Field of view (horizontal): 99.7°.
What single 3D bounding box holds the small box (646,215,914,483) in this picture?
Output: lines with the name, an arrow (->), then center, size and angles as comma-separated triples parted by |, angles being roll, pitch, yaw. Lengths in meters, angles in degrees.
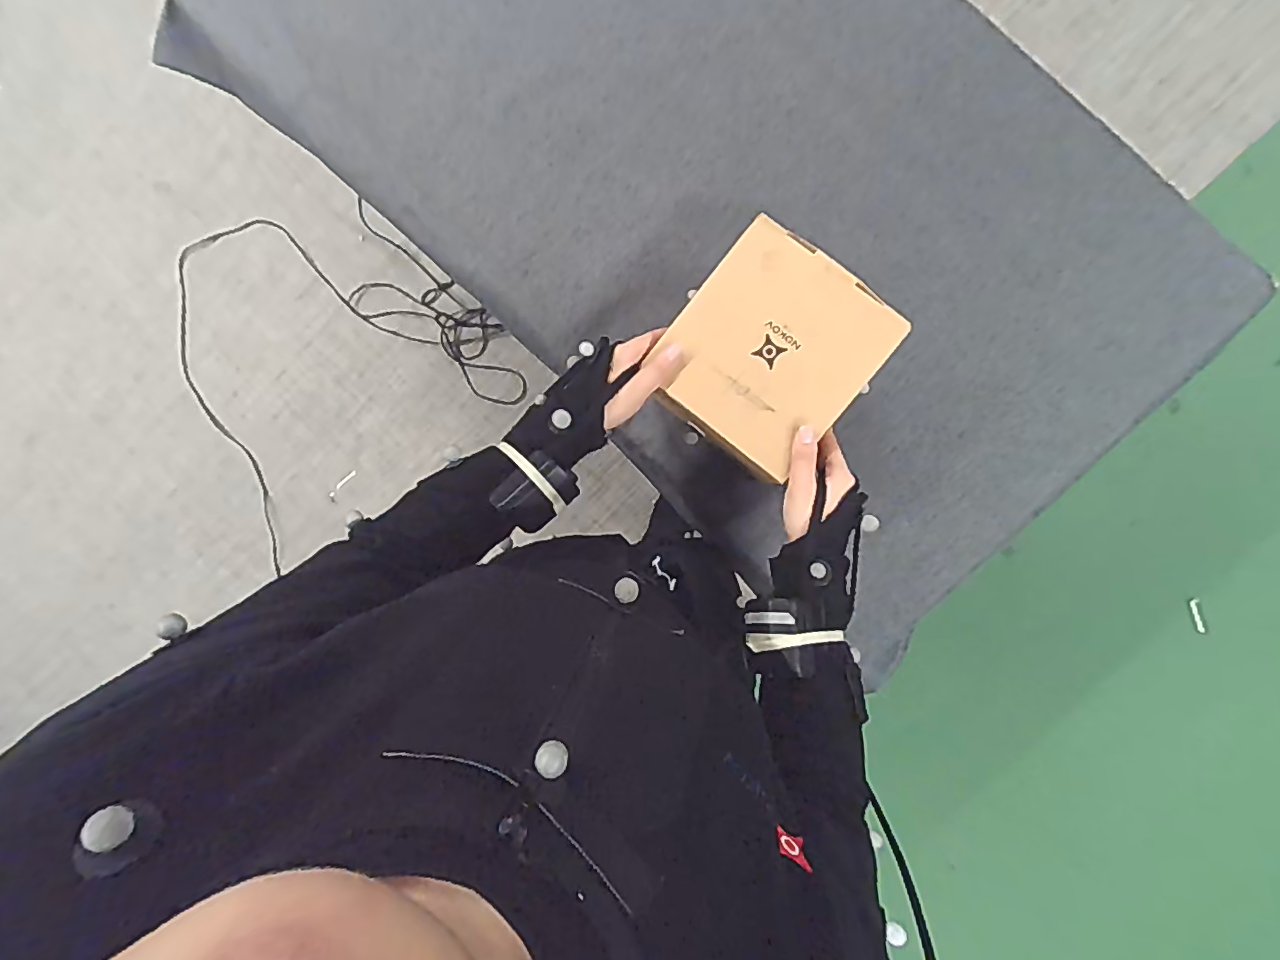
small box -> 0.126, -0.115, 0.546 | 0.168, 0.176, 0.179 | 38, 95, 5
